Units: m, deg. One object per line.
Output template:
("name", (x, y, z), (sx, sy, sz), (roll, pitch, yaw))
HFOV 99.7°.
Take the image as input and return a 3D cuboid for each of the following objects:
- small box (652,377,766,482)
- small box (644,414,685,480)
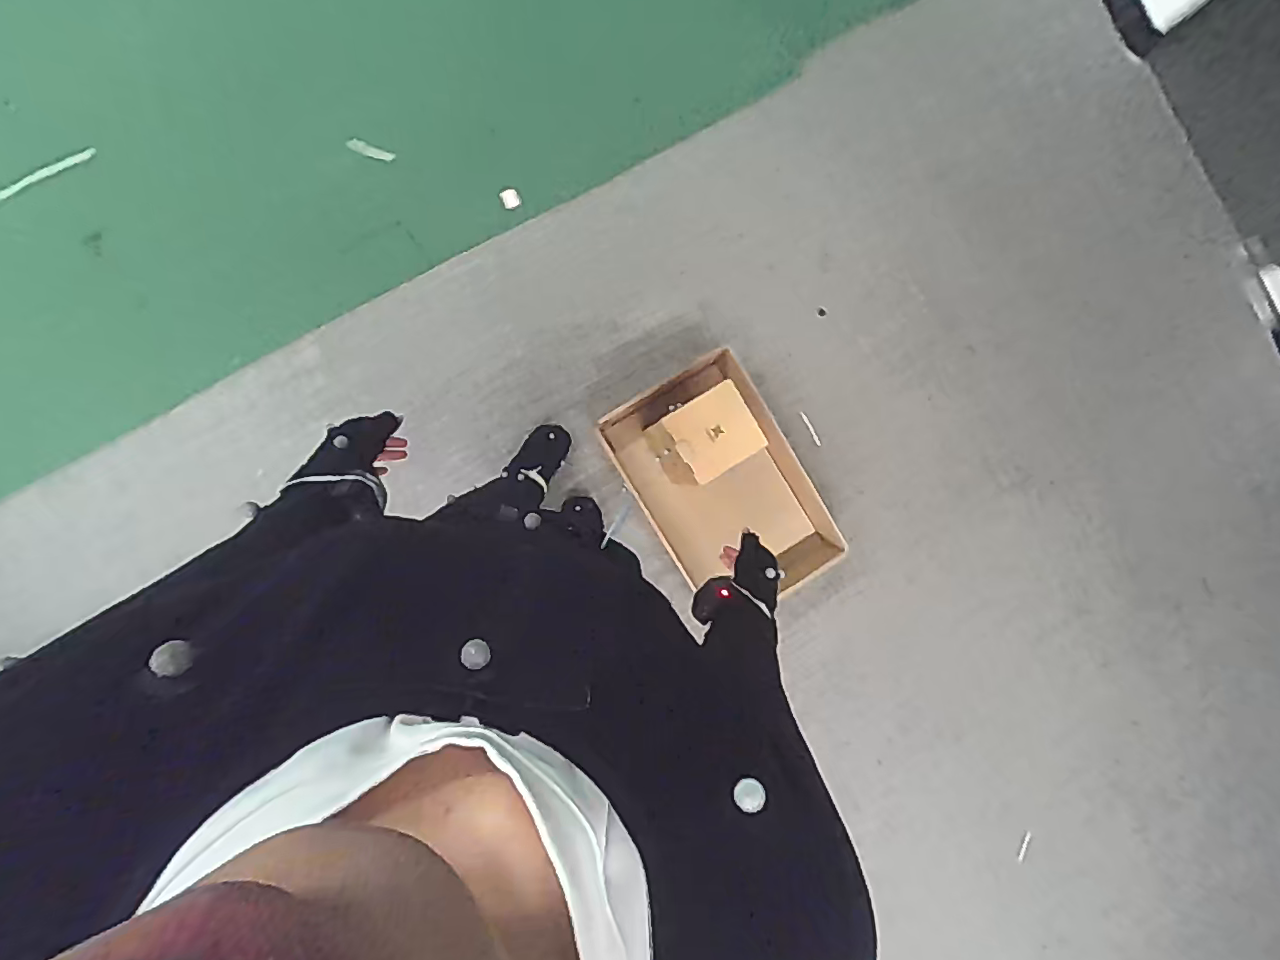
("small box", (0.146, -0.110, 1.210), (0.179, 0.176, 0.168), (-31, 95, -5))
("small box", (0.126, -0.114, 1.372), (0.179, 0.176, 0.168), (-30, 94, -5))
